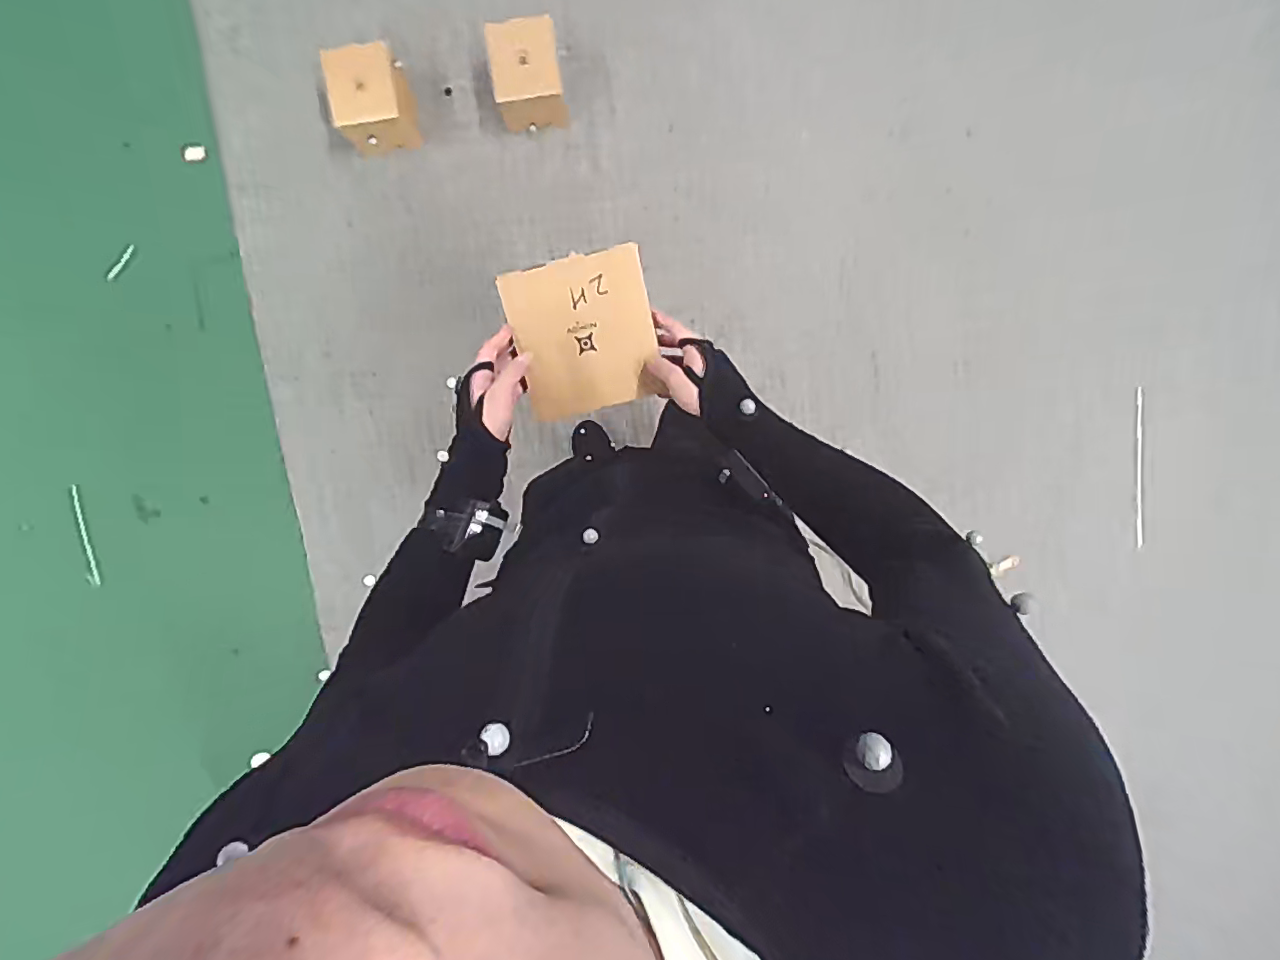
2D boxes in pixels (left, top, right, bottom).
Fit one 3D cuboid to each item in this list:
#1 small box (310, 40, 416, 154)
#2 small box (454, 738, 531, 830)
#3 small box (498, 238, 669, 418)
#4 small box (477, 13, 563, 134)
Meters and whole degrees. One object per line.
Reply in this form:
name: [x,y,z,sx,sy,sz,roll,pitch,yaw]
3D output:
small box: [-0.690,-0.955,1.368,0.168,0.176,0.179,-8,97,1]
small box: [-0.441,0.912,1.643,0.168,0.176,0.179,-11,99,2]
small box: [-0.062,-0.195,0.693,0.168,0.176,0.179,-13,109,2]
small box: [-0.295,-1.014,1.362,0.168,0.176,0.179,-8,98,1]
